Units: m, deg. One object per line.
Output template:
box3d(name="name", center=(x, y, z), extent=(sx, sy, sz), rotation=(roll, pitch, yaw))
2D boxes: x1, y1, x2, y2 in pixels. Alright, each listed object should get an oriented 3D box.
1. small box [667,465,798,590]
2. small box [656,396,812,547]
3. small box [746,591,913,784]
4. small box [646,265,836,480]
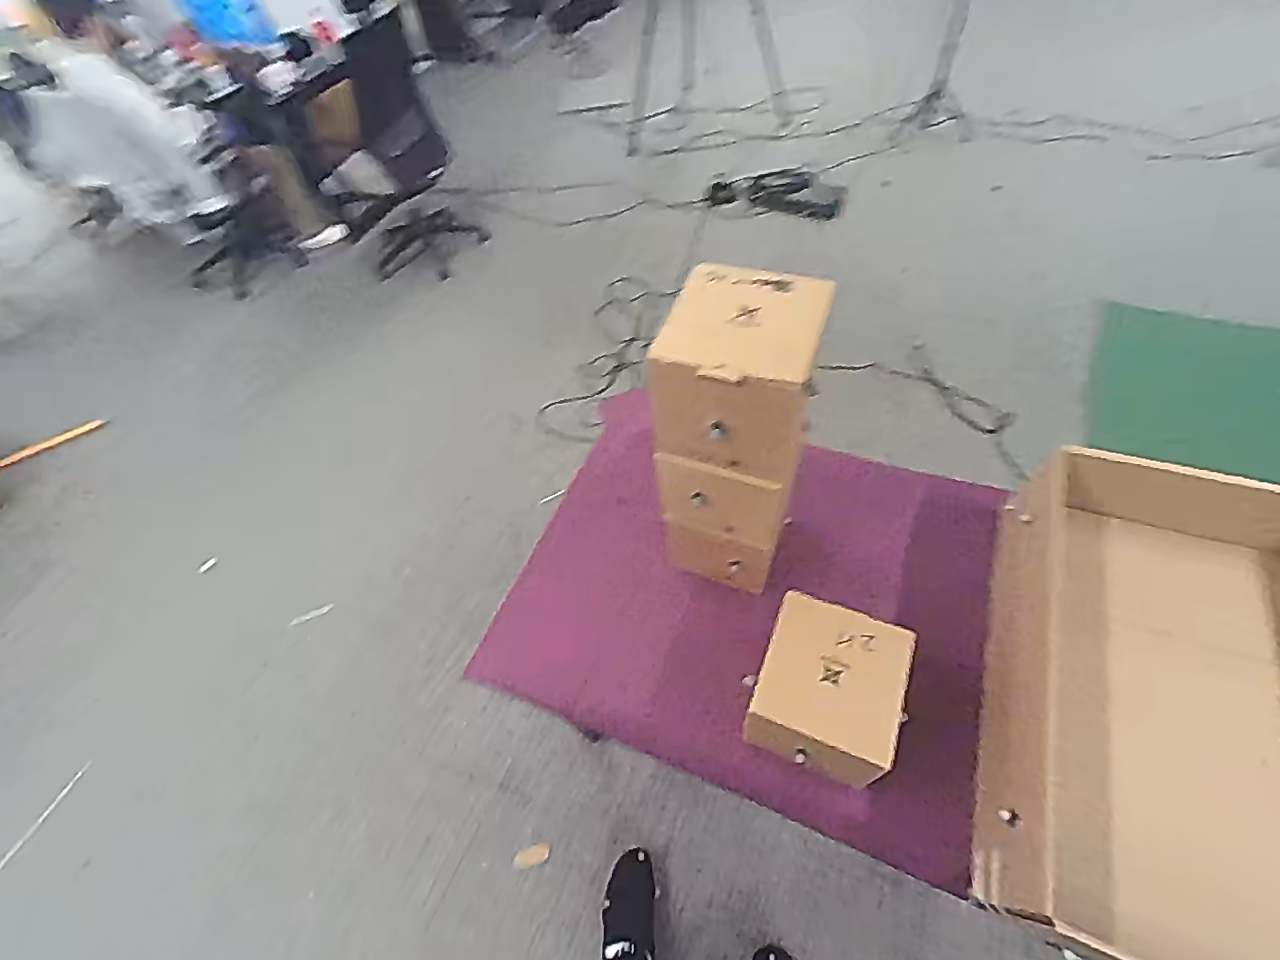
box3d(name="small box", center=(0.158, 0.062, 0.918), extent=(0.168, 0.176, 0.179), rotation=(17, 59, 18))
box3d(name="small box", center=(0.137, -0.028, 0.785), extent=(0.168, 0.176, 0.179), rotation=(17, 58, 18))
box3d(name="small box", center=(0.249, 0.288, 0.740), extent=(0.168, 0.176, 0.179), rotation=(18, 58, 19))
box3d(name="small box", center=(0.122, -0.126, 0.654), extent=(0.168, 0.176, 0.179), rotation=(16, 59, 17))
